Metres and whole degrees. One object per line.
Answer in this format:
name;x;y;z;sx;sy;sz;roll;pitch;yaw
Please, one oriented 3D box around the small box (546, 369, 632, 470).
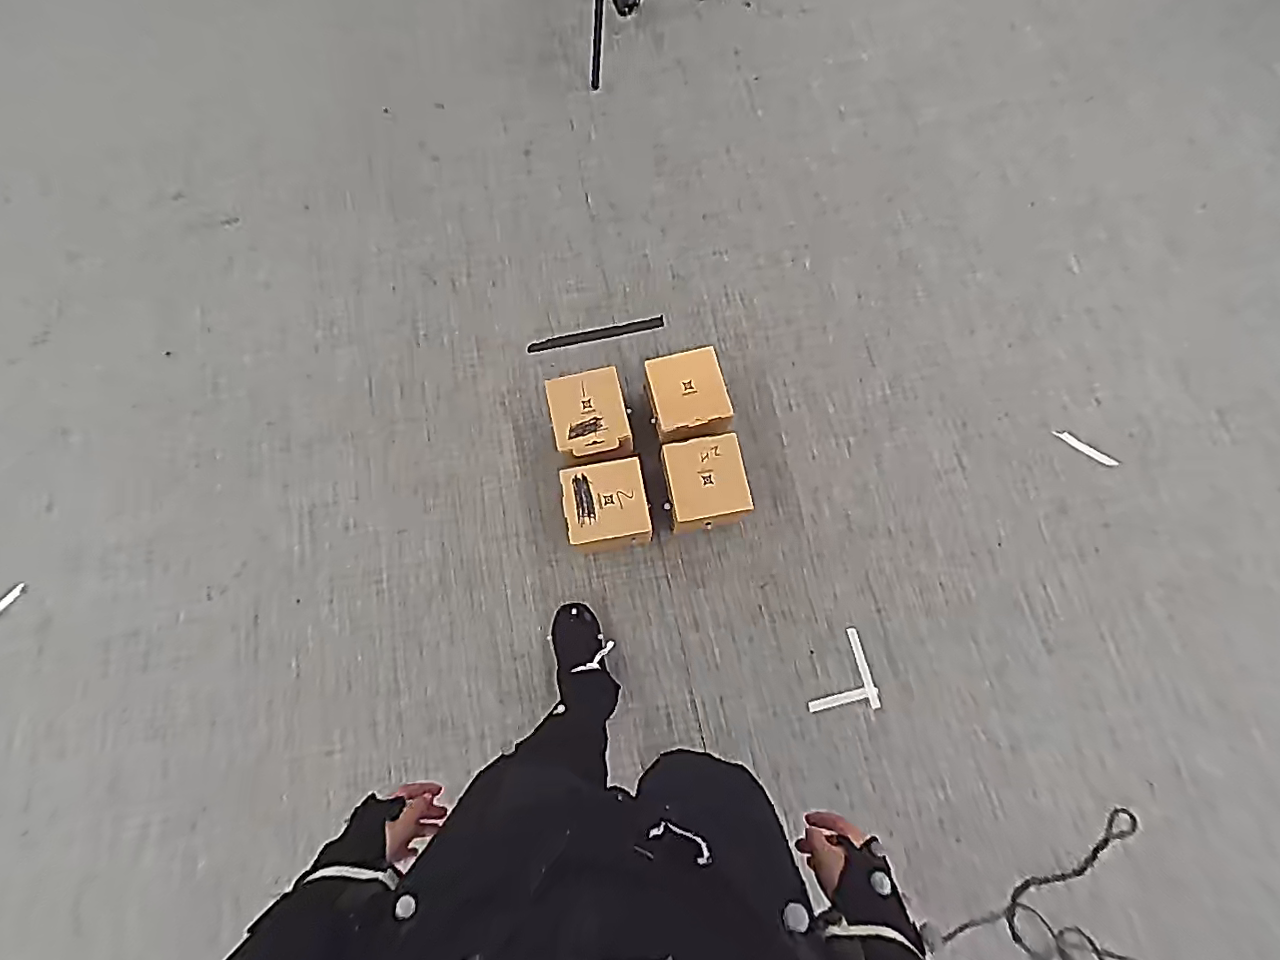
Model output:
small box;-0.115;-0.131;1.268;0.168;0.176;0.179;-12;74;-3
